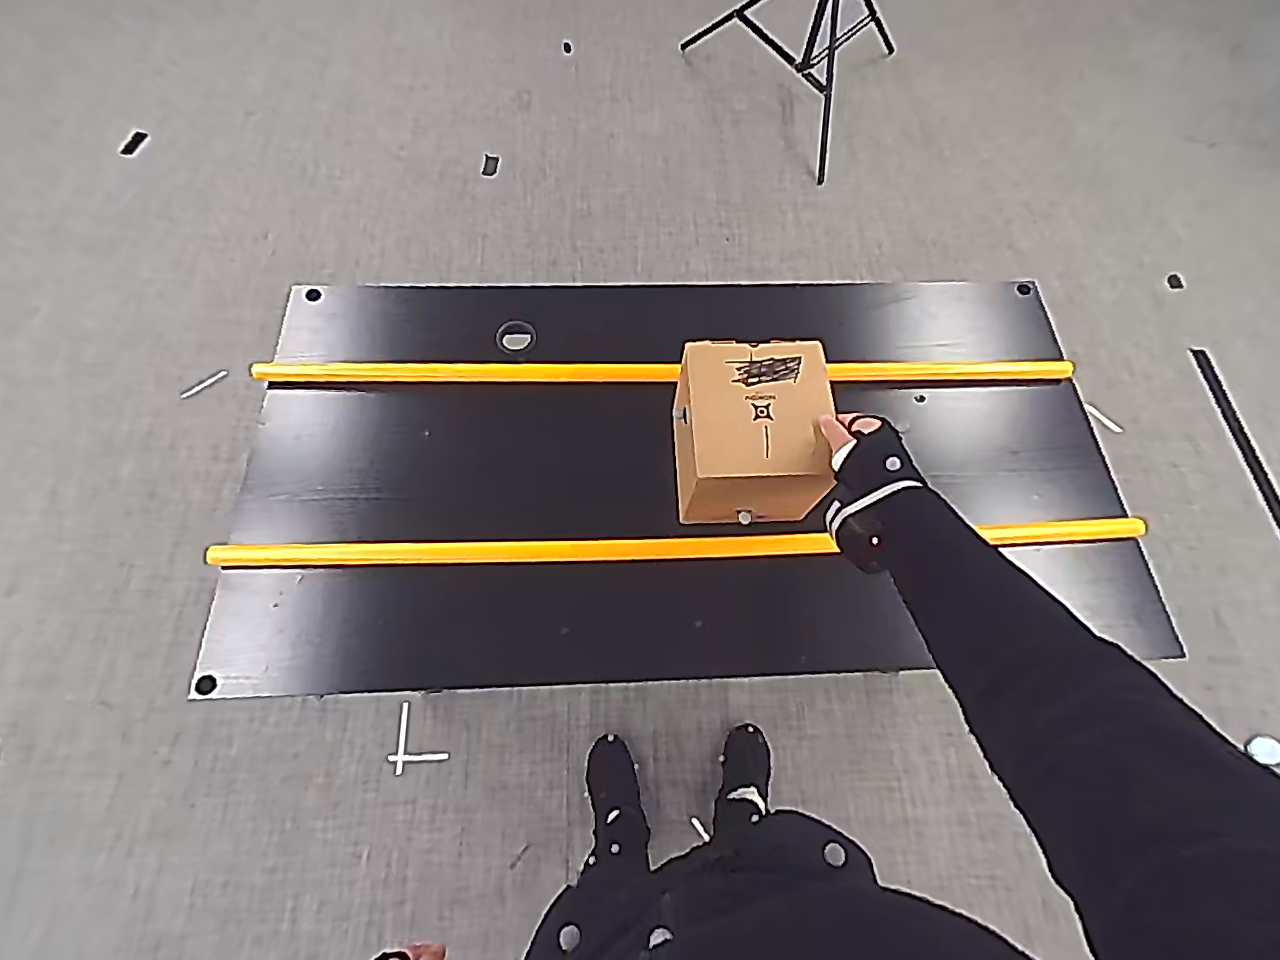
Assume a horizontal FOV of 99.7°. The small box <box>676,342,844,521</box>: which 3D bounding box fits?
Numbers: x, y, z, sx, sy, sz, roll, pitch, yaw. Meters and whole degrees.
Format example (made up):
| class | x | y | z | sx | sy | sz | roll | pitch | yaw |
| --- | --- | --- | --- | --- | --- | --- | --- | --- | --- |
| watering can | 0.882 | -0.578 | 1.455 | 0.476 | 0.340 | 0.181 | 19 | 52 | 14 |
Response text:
| class | x | y | z | sx | sy | sz | roll | pitch | yaw |
| --- | --- | --- | --- | --- | --- | --- | --- | --- | --- |
| small box | 0.137 | -0.055 | 0.690 | 0.168 | 0.176 | 0.179 | -1 | 69 | -2 |
